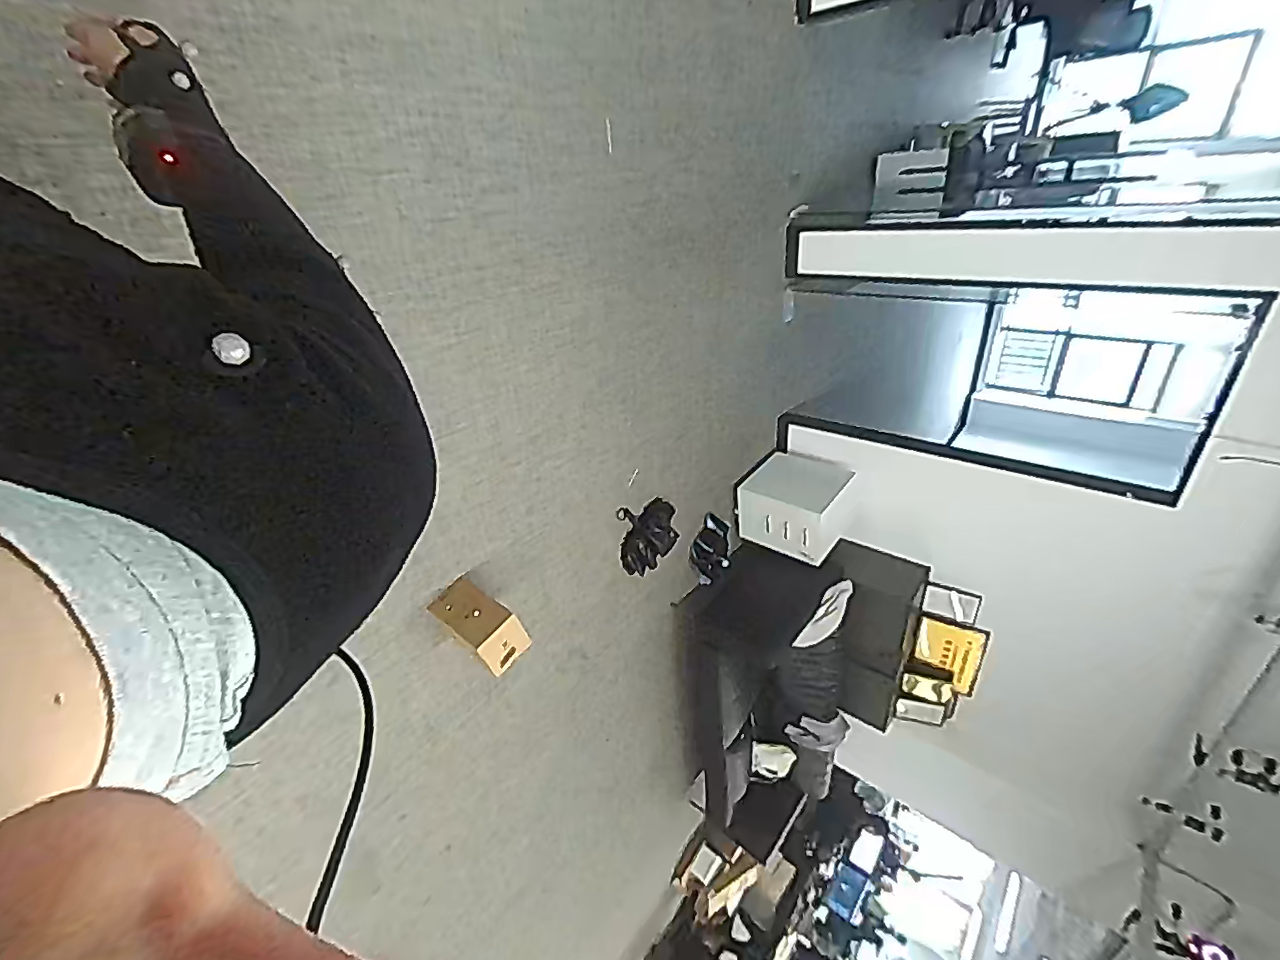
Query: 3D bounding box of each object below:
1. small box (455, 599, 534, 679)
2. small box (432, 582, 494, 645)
[{"bbox_3d":[-0.500,0.540,1.860,0.168,0.176,0.179,-43,134,-30],"label":"small box"},{"bbox_3d":[-0.619,0.494,1.965,0.168,0.176,0.179,-44,137,-29],"label":"small box"}]
